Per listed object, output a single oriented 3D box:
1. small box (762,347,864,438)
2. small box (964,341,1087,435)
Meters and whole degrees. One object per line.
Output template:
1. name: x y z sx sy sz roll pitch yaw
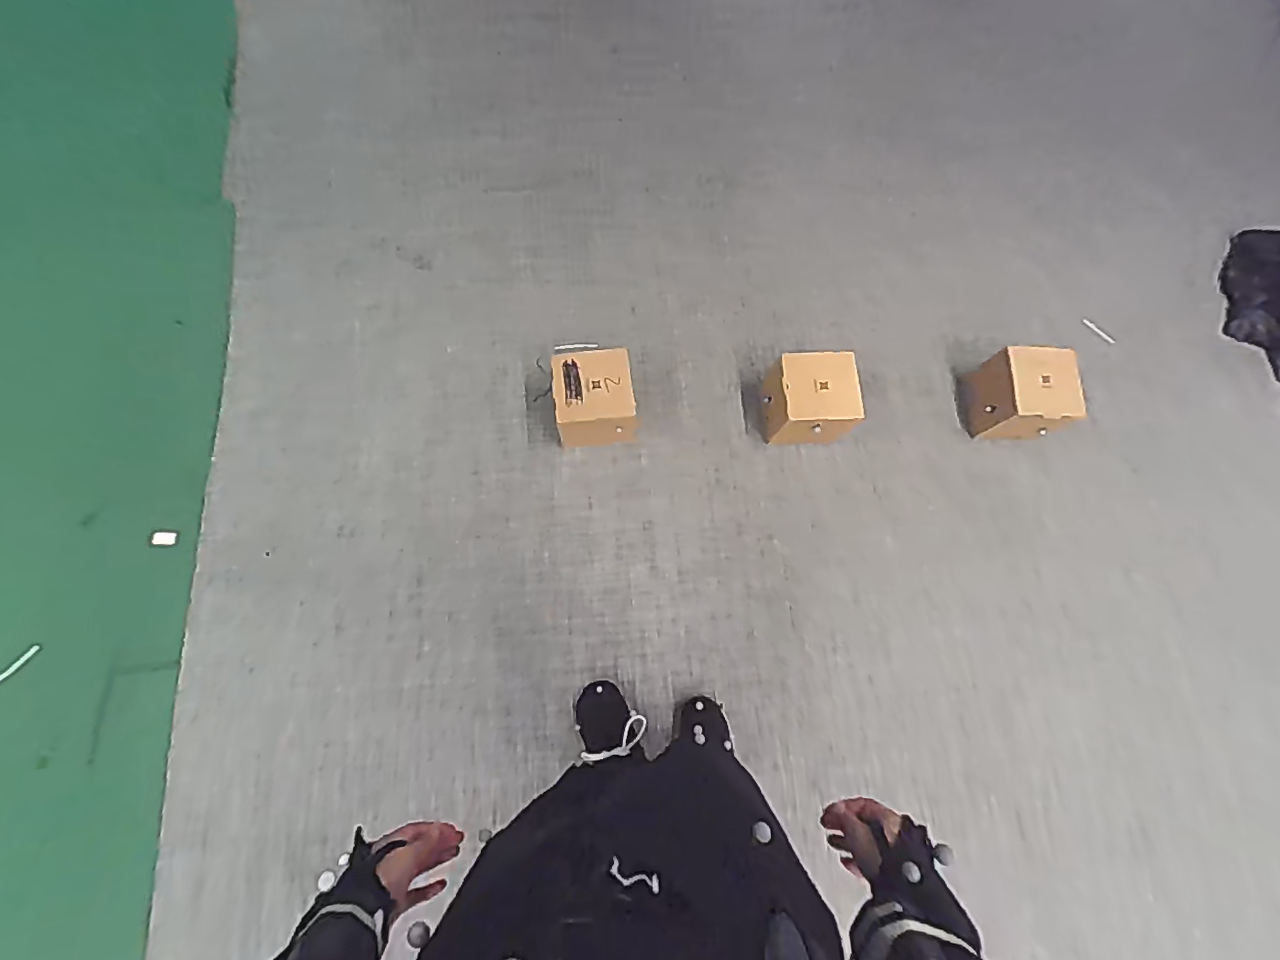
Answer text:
1. small box: 0.403 -0.203 1.285 0.179 0.176 0.168 -2 76 -3
2. small box: 0.925 -0.216 1.313 0.168 0.176 0.179 2 75 -4
